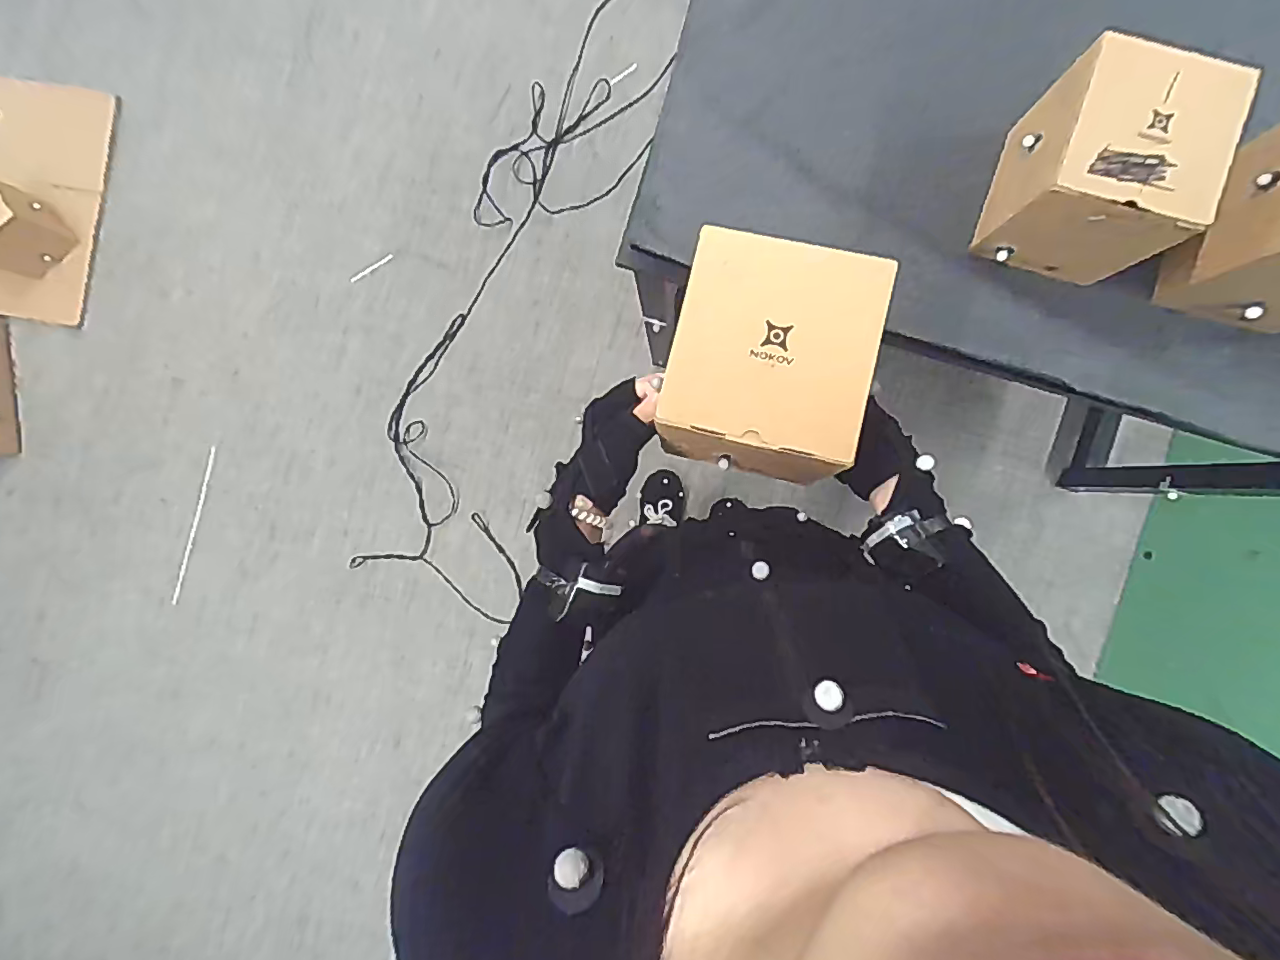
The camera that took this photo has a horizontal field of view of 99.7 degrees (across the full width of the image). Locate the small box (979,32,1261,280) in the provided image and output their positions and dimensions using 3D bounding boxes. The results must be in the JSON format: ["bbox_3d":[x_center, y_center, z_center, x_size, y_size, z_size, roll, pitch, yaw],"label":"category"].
[{"bbox_3d":[0.548,-0.367,0.648,0.168,0.176,0.179,18,90,3],"label":"small box"}]

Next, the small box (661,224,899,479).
[{"bbox_3d":[0.119,-0.107,0.520,0.168,0.176,0.179,13,87,6],"label":"small box"}]

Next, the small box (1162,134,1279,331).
[{"bbox_3d":[0.779,-0.298,0.632,0.168,0.176,0.179,16,91,4],"label":"small box"}]
